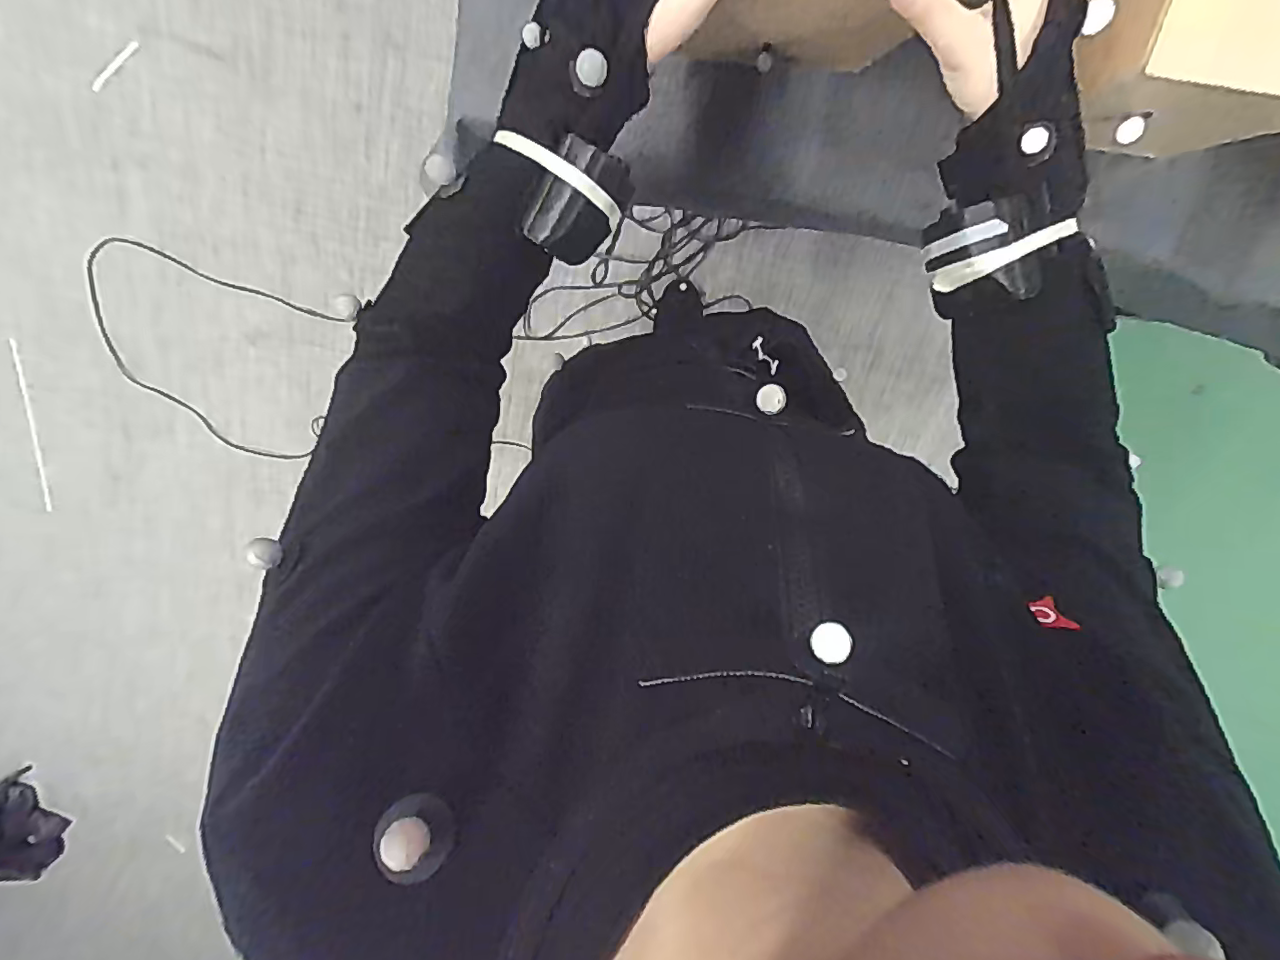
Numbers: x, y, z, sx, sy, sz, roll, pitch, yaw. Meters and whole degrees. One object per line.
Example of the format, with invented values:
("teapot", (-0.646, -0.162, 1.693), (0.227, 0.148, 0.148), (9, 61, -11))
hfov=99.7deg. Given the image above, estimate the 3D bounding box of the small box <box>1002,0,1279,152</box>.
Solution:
("small box", (0.409, -0.359, 0.393), (0.168, 0.176, 0.179), (7, 111, -2))
